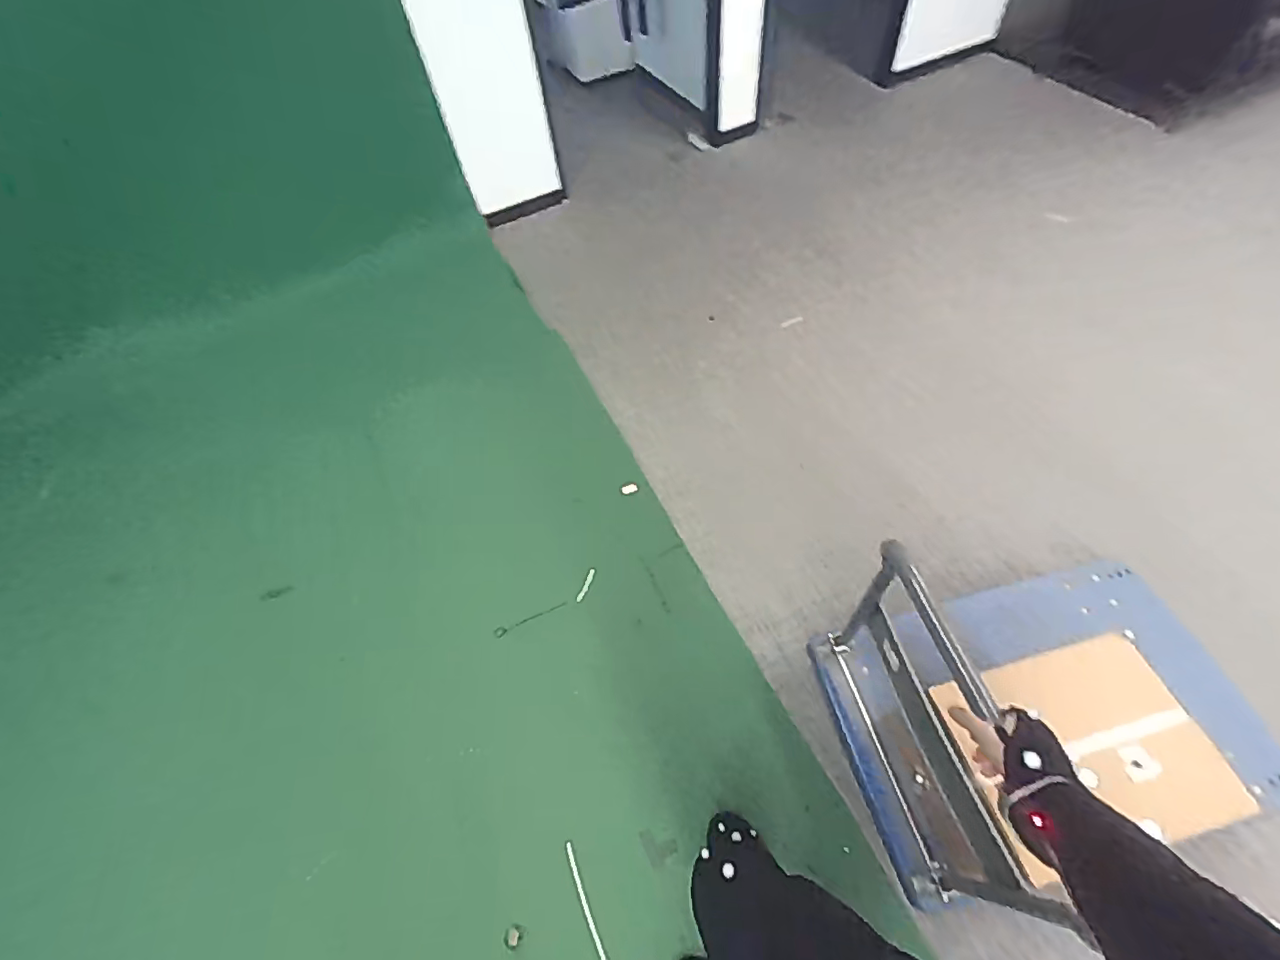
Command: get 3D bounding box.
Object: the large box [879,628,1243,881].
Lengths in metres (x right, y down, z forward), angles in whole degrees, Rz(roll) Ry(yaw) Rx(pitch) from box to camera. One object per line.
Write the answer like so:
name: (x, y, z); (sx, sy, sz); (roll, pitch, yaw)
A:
large box: (0.770, 0.541, 1.071); (0.408, 0.320, 0.320); (-15, 57, -5)
